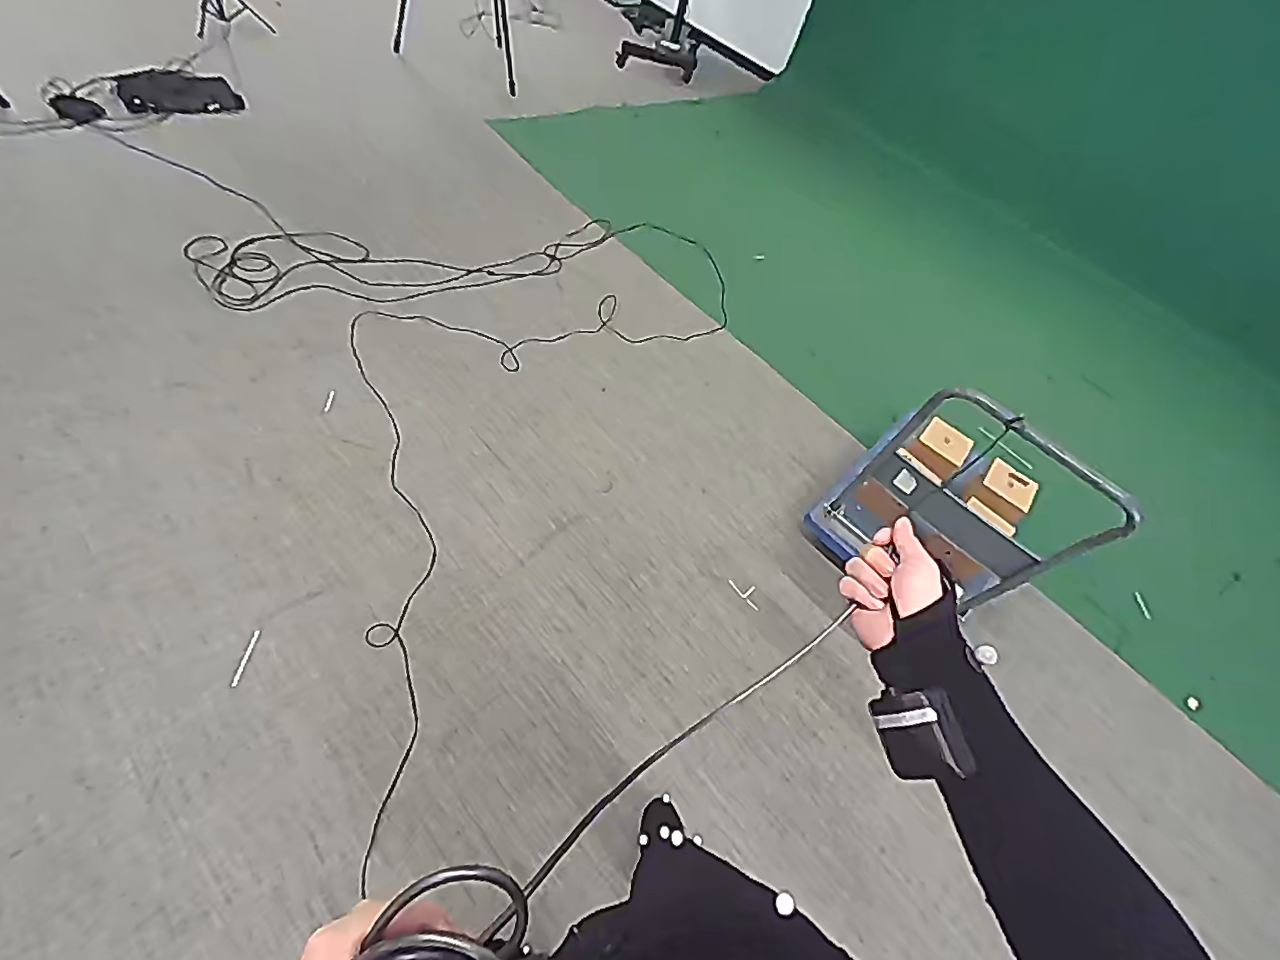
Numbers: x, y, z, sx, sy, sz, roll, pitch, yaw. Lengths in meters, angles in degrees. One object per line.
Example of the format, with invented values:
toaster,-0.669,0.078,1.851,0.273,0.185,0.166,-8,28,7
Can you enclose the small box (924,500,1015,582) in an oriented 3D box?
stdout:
small box,1.087,0.205,1.795,0.179,0.176,0.168,-35,70,-31

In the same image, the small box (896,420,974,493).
small box,1.086,-0.083,2.002,0.168,0.176,0.179,41,55,14

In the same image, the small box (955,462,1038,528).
small box,1.273,0.073,1.939,0.168,0.176,0.179,40,56,15
